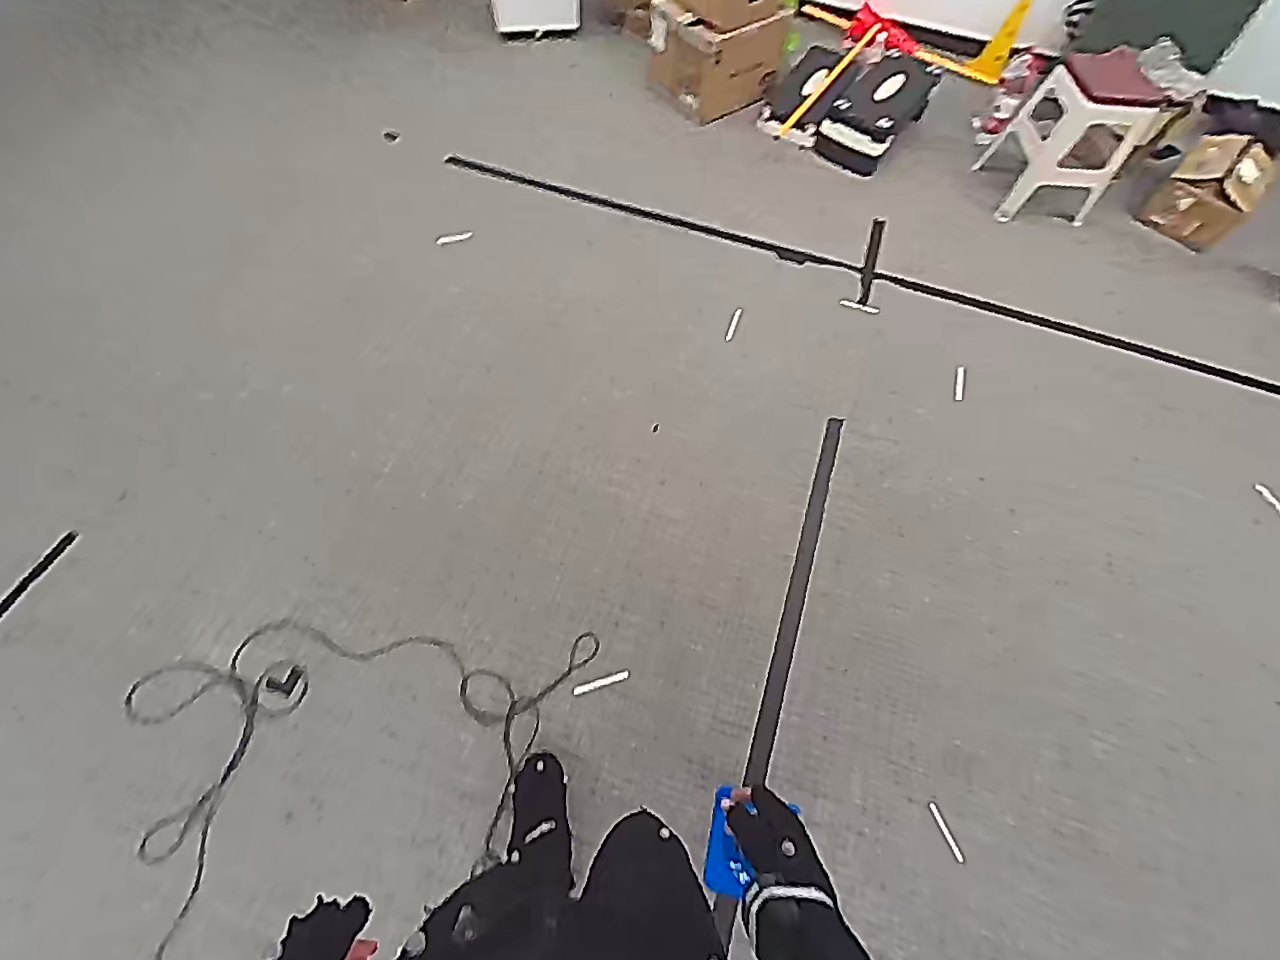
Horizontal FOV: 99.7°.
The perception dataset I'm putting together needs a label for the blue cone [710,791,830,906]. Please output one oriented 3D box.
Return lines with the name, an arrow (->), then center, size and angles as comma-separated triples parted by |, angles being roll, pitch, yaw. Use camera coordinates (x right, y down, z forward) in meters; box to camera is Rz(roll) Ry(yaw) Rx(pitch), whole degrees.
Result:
blue cone -> 0.269, 0.737, 1.050 | 0.192, 0.380, 0.193 | 16, 63, 3
